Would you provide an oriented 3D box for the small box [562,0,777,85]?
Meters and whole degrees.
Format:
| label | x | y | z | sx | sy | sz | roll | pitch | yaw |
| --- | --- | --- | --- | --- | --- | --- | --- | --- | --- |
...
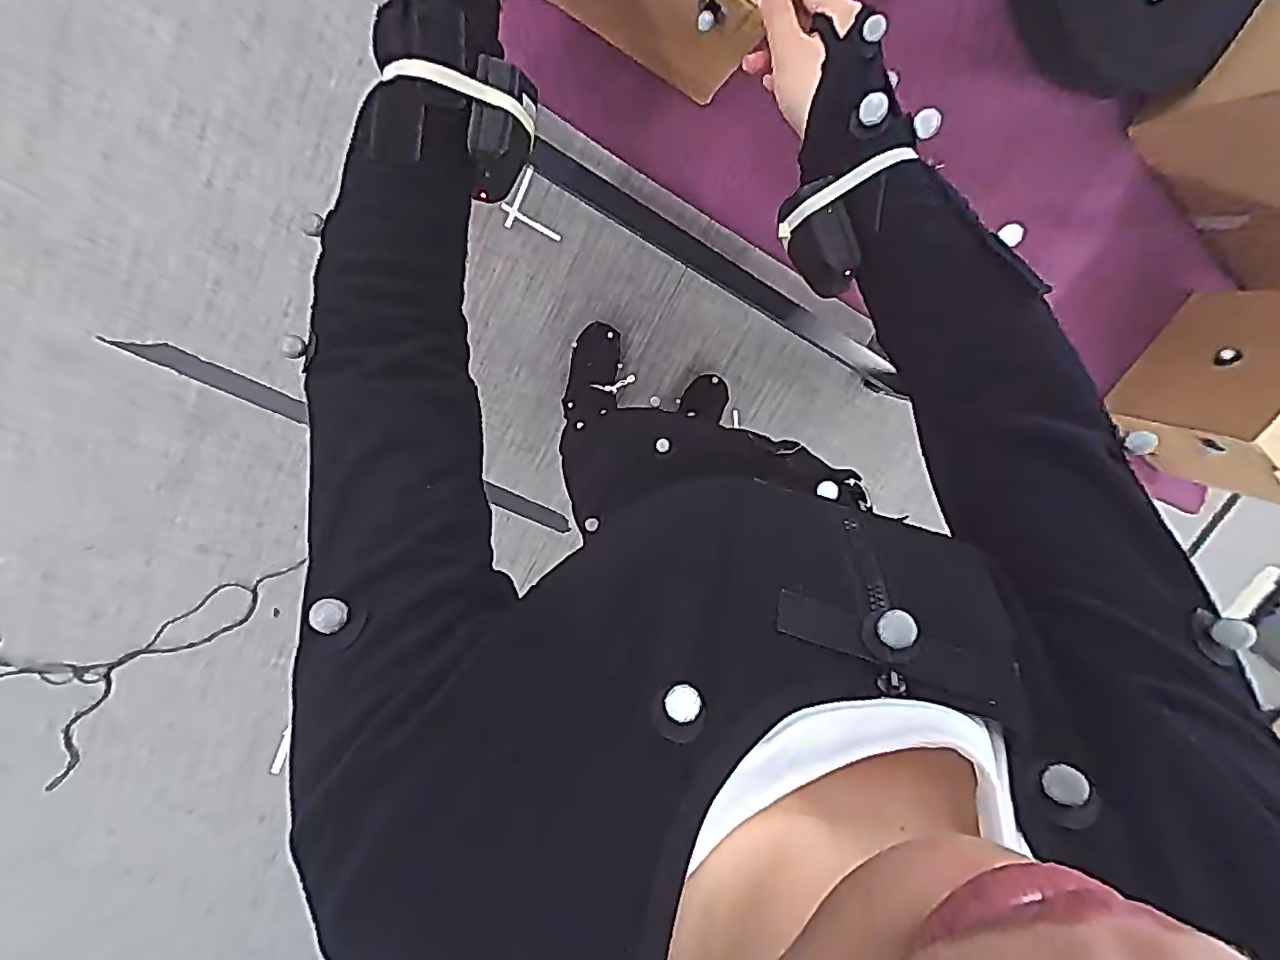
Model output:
| label | x | y | z | sx | sy | sz | roll | pitch | yaw |
| --- | --- | --- | --- | --- | --- | --- | --- | --- | --- |
| small box | 0.030 | -0.427 | 0.379 | 0.179 | 0.176 | 0.168 | 22 | 103 | -18 |
